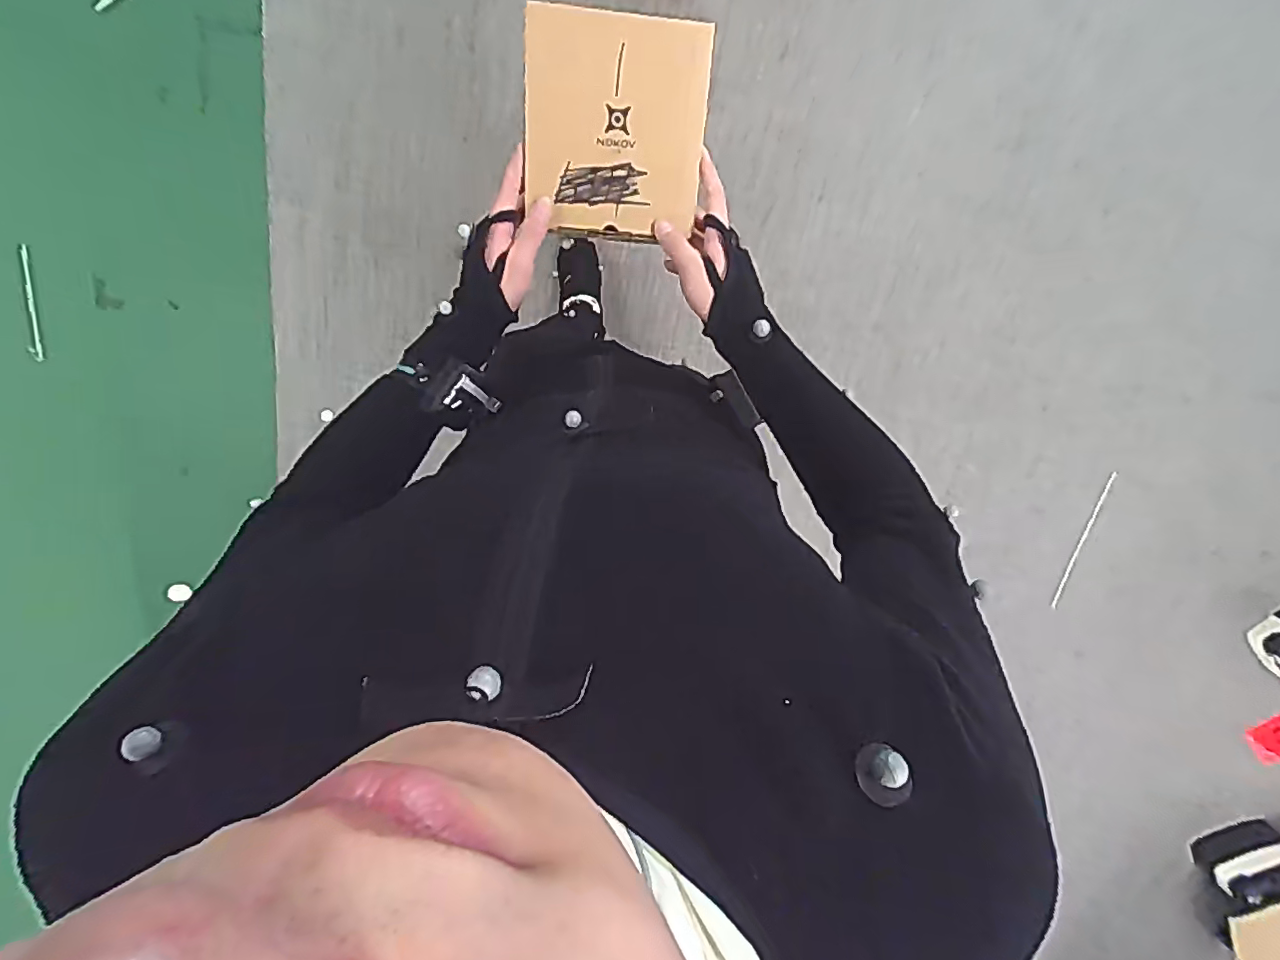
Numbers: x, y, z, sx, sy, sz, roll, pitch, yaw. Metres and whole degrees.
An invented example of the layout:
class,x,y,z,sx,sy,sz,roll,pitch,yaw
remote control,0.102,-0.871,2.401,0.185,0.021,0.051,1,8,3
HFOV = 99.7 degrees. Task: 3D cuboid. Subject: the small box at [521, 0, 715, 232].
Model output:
class,x,y,z,sx,sy,sz,roll,pitch,yaw
small box,-0.028,-0.359,0.559,0.168,0.176,0.179,3,112,-6
